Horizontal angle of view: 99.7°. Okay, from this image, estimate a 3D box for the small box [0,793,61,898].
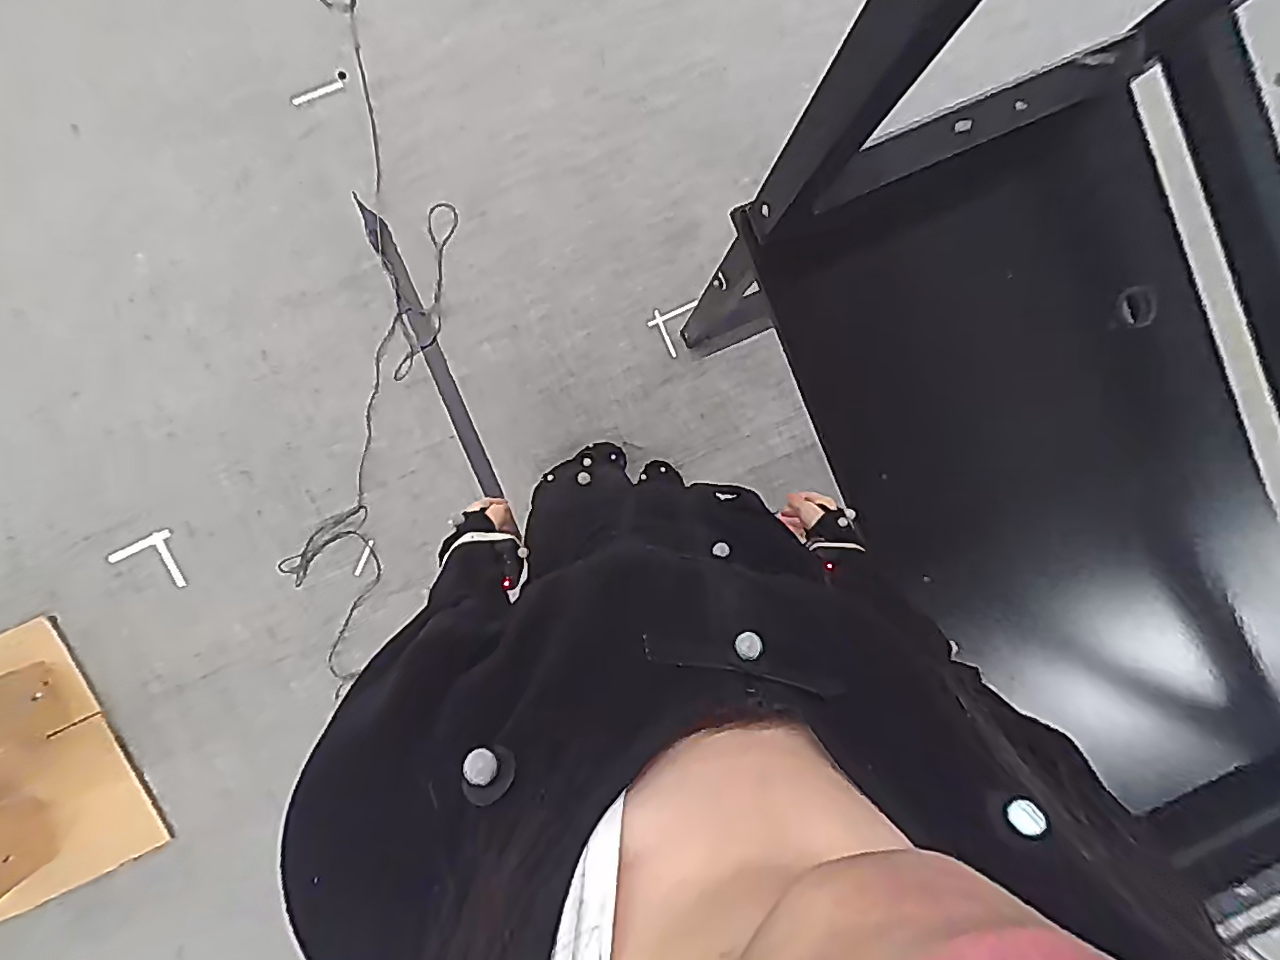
[{"bbox_3d":[-1.649,0.944,1.371,0.168,0.176,0.179,-15,96,-3],"label":"small box"}]
